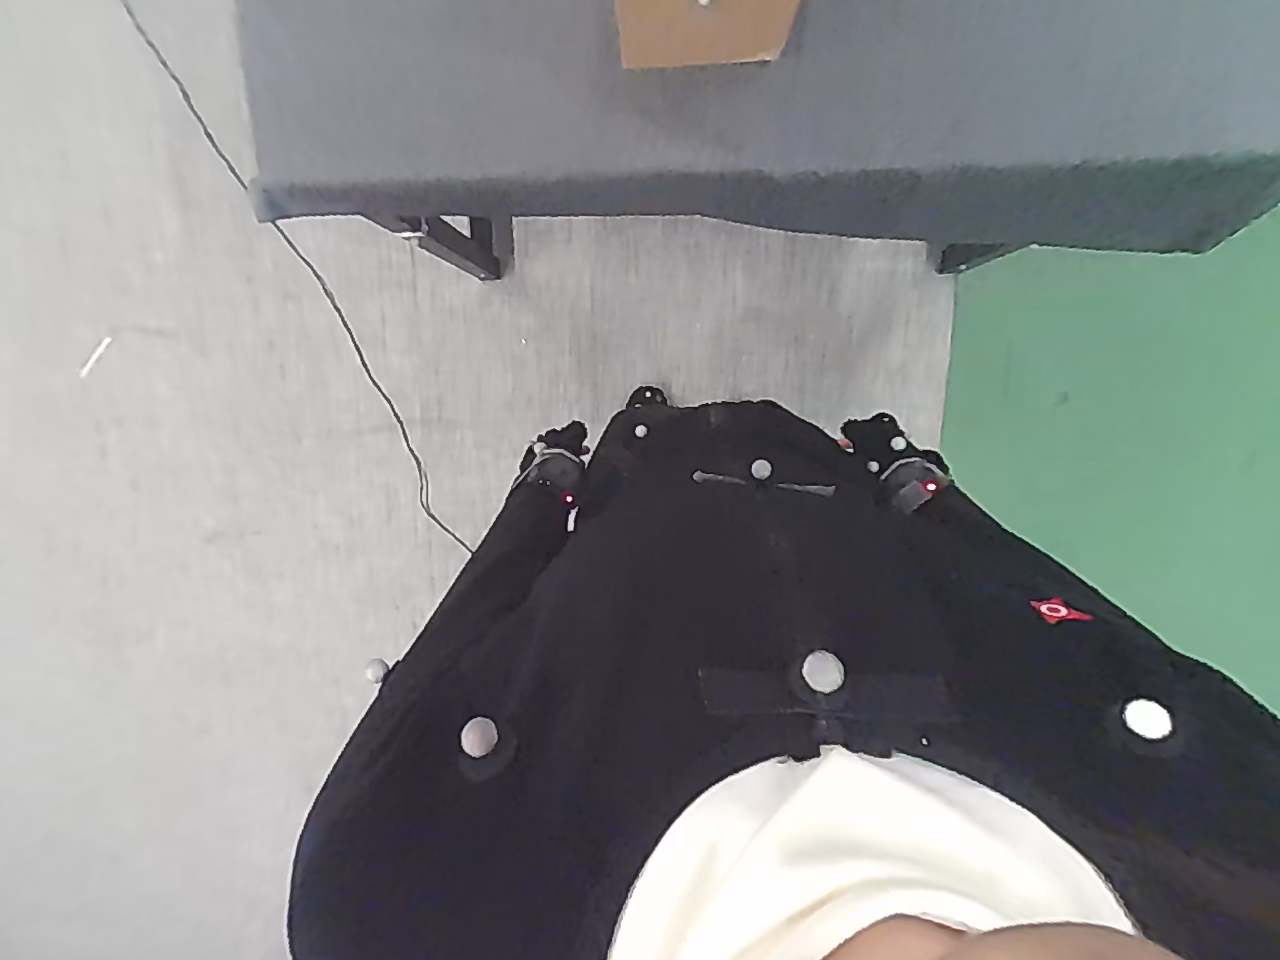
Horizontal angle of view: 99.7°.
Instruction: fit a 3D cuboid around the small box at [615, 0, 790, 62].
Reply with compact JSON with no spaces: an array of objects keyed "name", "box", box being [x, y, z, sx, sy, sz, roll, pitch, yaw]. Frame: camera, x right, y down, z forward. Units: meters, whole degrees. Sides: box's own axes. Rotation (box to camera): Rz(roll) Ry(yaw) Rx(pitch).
[{"name":"small box","box":[0.060,-0.532,0.511,0.179,0.176,0.168,-1,101,2]}]
